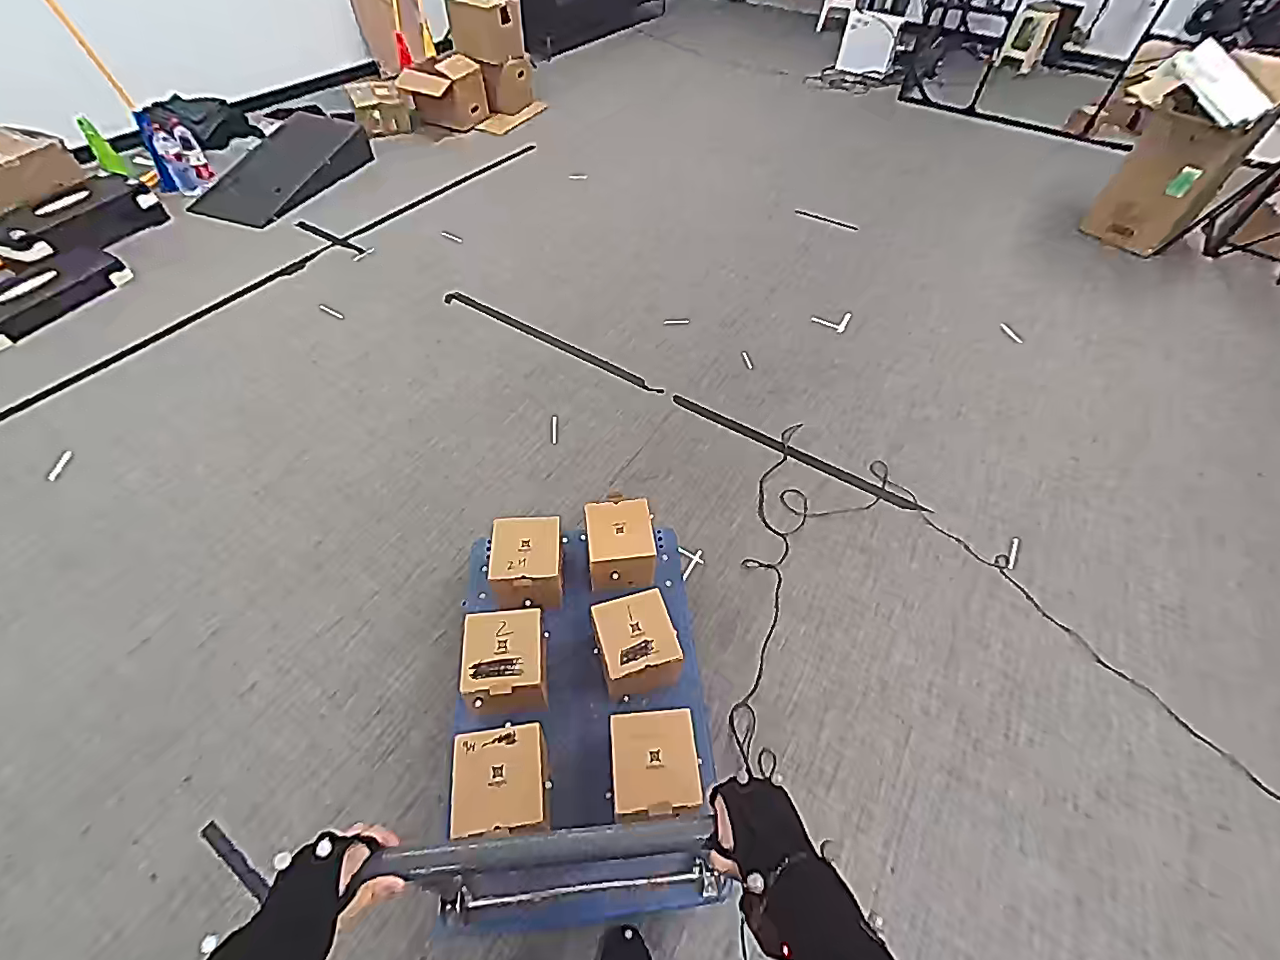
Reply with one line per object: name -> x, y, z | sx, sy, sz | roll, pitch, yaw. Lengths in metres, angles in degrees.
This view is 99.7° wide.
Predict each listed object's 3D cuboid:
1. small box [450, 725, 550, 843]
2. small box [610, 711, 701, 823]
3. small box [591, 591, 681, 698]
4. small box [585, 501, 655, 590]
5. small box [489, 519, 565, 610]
small box -> -0.271, 0.608, 1.075 | 0.168, 0.176, 0.179 | -5, 52, -8
small box -> 0.025, 0.591, 1.107 | 0.168, 0.176, 0.179 | -2, 51, -5
small box -> -0.013, 0.390, 1.264 | 0.168, 0.176, 0.179 | -12, 52, -13
small box -> -0.055, 0.179, 1.431 | 0.168, 0.176, 0.179 | -5, 52, -7
small box -> -0.282, 0.217, 1.385 | 0.168, 0.176, 0.179 | -1, 53, -4
